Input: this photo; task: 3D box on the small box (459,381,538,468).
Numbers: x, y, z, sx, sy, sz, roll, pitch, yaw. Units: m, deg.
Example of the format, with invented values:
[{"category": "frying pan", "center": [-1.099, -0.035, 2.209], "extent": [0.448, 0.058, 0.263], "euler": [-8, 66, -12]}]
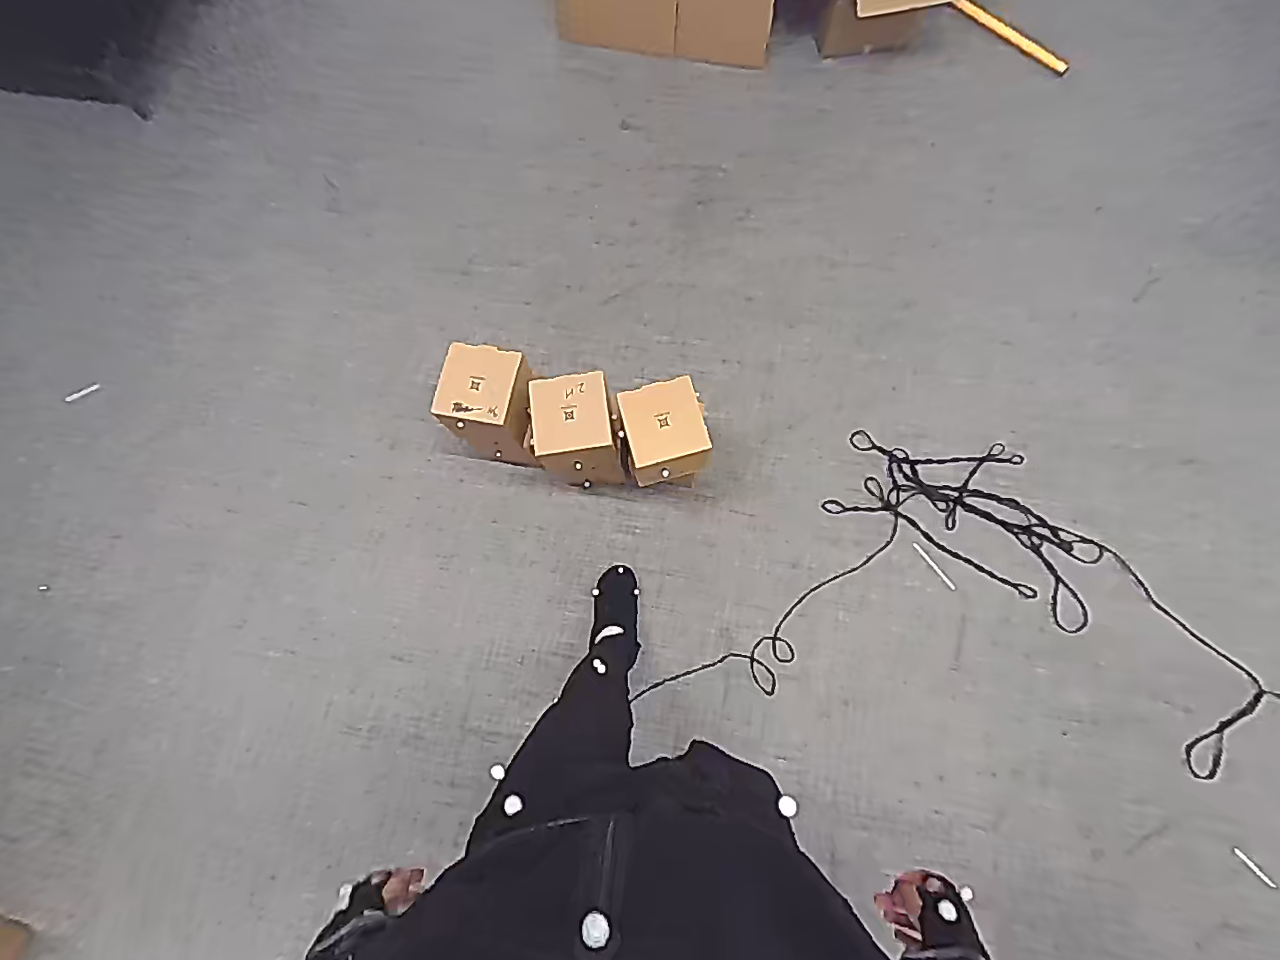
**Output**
[{"category": "small box", "center": [-0.339, -0.137, 1.406], "extent": [0.179, 0.176, 0.168], "euler": [9, 75, 5]}]

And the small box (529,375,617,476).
[{"category": "small box", "center": [-0.147, -0.114, 1.224], "extent": [0.168, 0.176, 0.179], "euler": [-8, 74, 0]}]

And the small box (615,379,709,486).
[{"category": "small box", "center": [0.048, -0.096, 1.208], "extent": [0.168, 0.176, 0.179], "euler": [-15, 73, -2]}]
